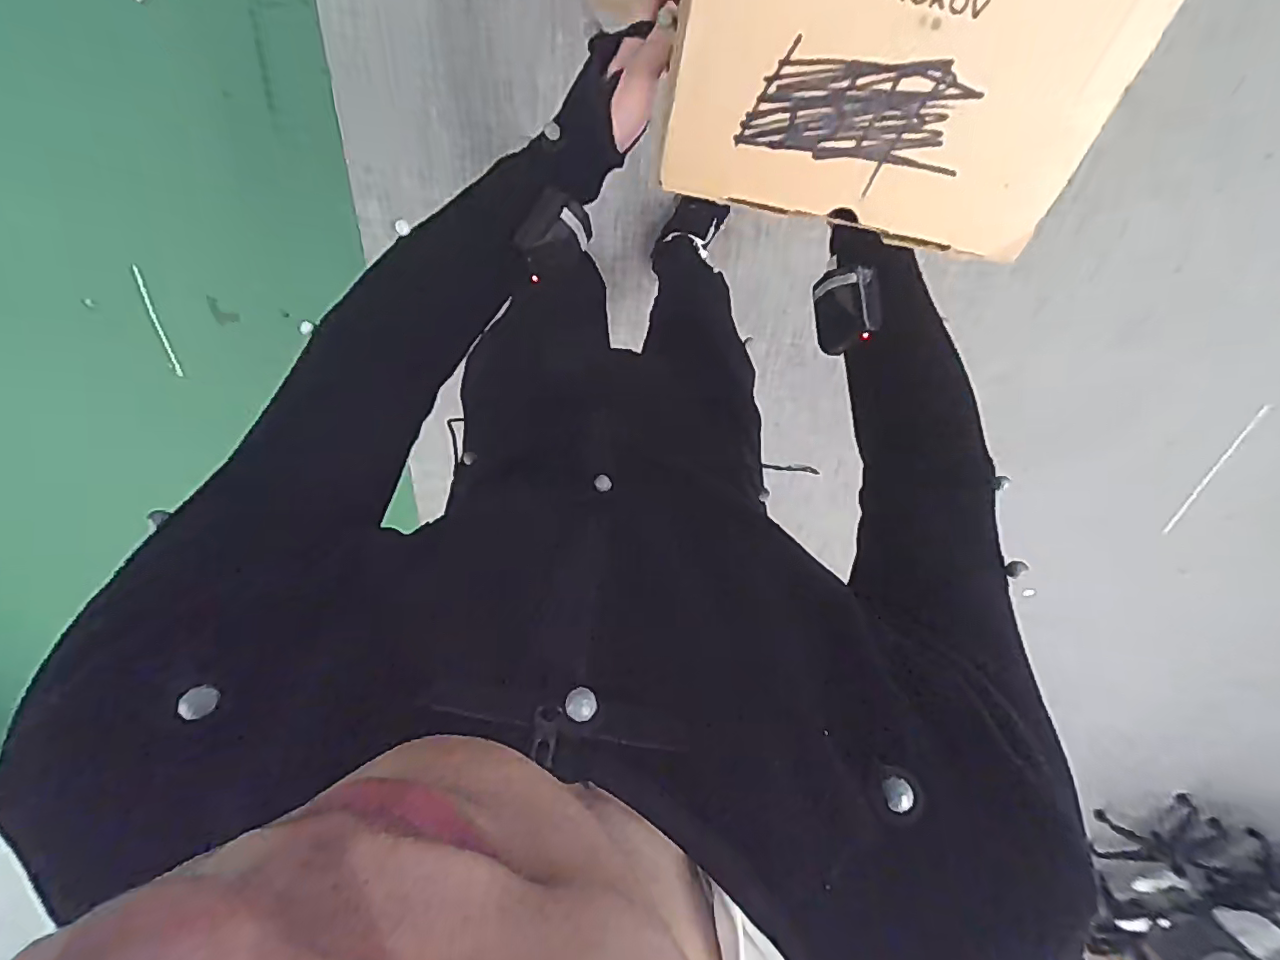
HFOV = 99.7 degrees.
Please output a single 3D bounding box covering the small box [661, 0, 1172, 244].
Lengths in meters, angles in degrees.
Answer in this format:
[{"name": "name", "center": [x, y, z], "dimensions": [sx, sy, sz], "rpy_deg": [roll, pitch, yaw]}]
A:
[{"name": "small box", "center": [0.109, -0.236, 0.239], "dimensions": [0.168, 0.176, 0.179], "rpy_deg": [9, 132, -5]}]
